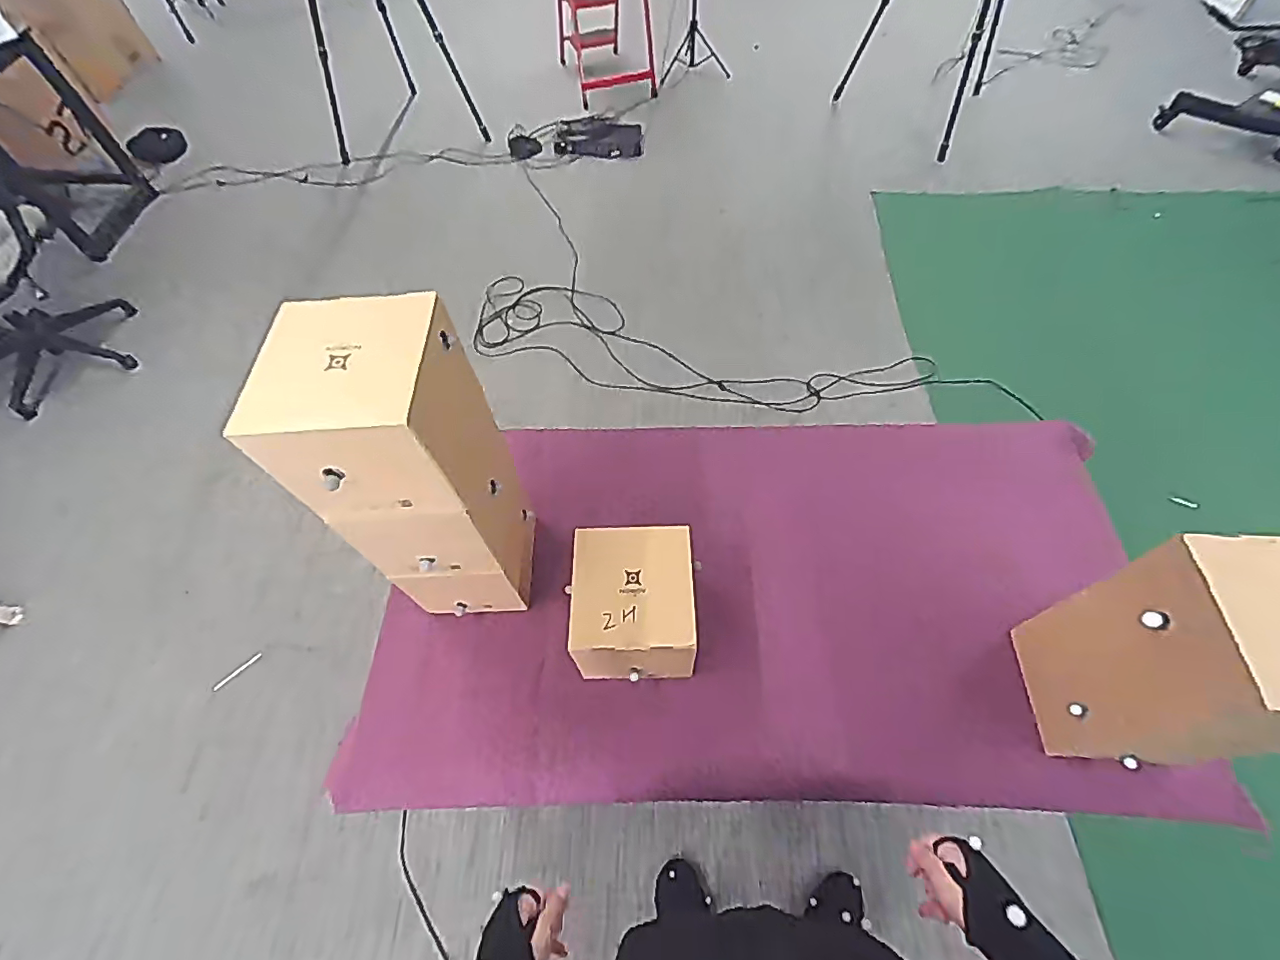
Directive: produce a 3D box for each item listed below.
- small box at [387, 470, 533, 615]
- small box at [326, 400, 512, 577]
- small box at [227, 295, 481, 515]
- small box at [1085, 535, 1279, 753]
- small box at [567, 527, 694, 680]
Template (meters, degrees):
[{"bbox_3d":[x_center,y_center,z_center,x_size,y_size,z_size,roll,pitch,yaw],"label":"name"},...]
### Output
[{"bbox_3d":[-0.270,0.103,0.860,0.168,0.176,0.179,-3,59,1],"label":"small box"},{"bbox_3d":[-0.275,0.015,0.722,0.168,0.176,0.179,-3,58,2],"label":"small box"},{"bbox_3d":[-0.283,-0.071,0.585,0.168,0.176,0.179,-4,58,1],"label":"small box"},{"bbox_3d":[0.631,0.177,0.576,0.168,0.176,0.179,2,57,6],"label":"small box"},{"bbox_3d":[-0.009,0.185,0.797,0.168,0.176,0.179,-1,58,2],"label":"small box"}]
